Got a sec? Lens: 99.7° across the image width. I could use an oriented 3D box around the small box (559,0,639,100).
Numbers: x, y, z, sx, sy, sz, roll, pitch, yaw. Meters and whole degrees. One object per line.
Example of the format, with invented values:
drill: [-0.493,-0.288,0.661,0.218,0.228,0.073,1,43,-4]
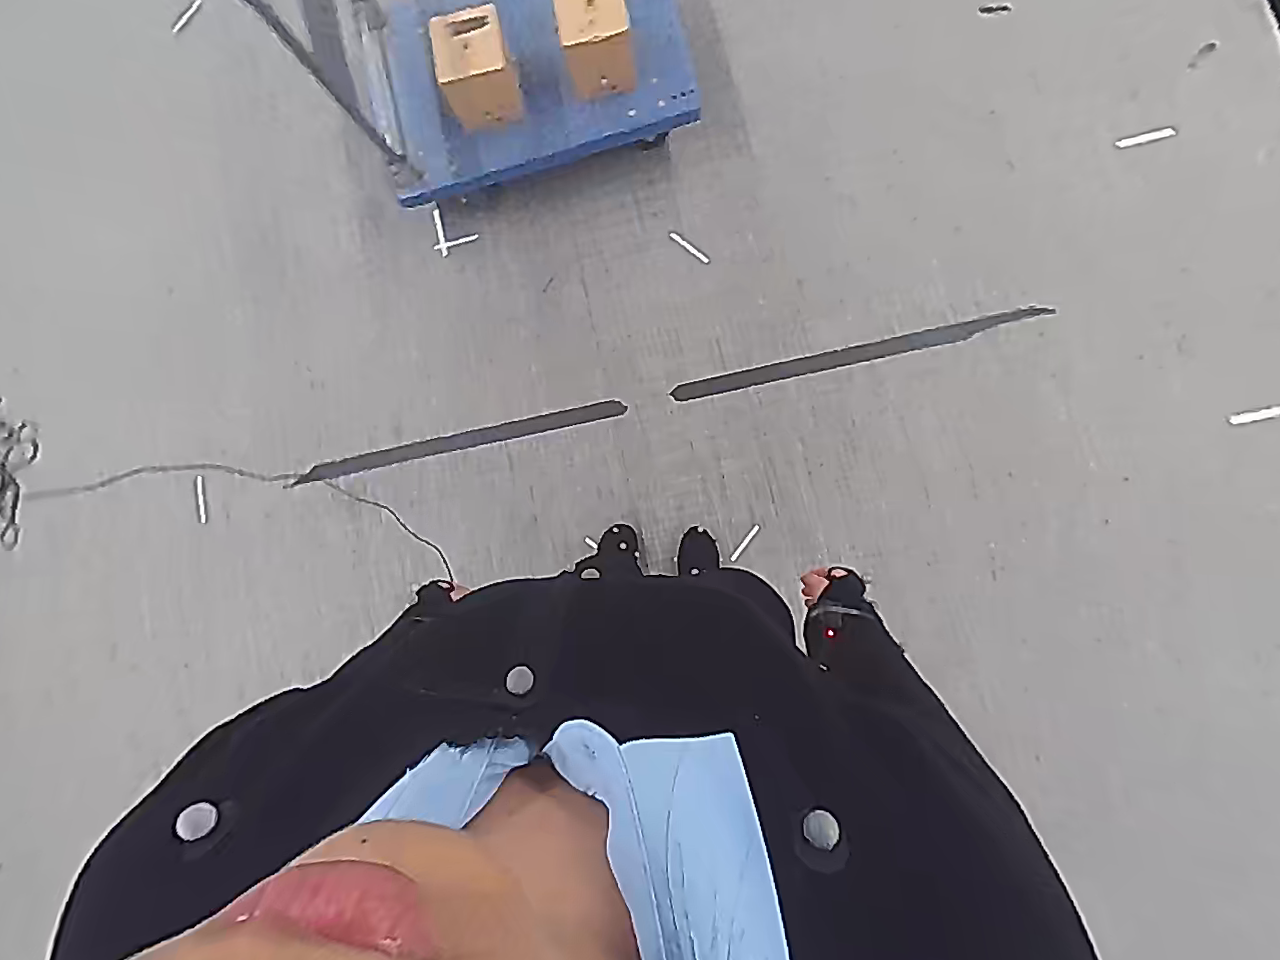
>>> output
small box: [-0.100,-1.109,1.354,0.168,0.176,0.179,-10,84,5]
